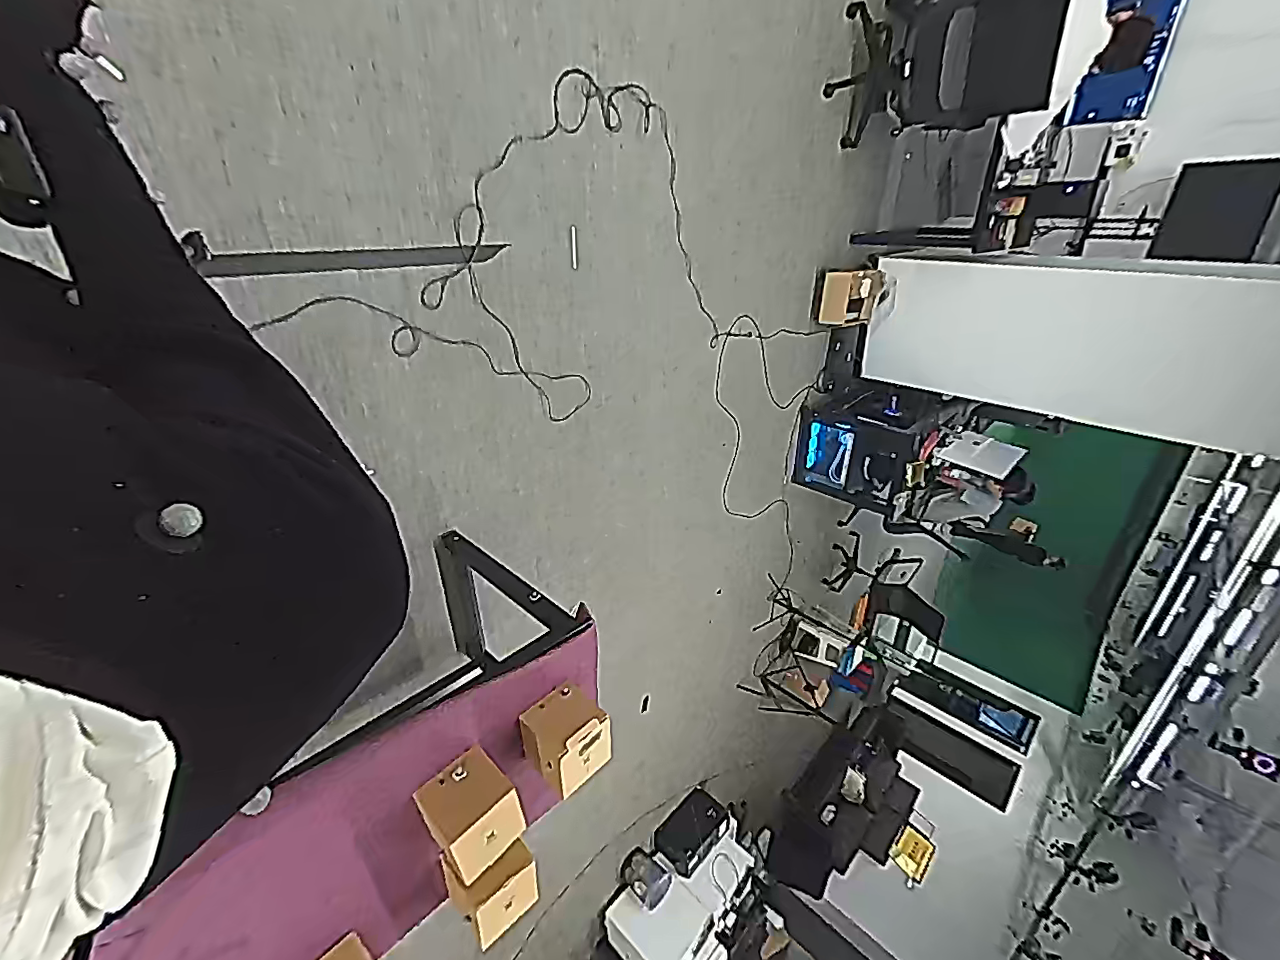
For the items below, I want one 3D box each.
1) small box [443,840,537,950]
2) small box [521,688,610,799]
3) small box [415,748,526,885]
[{"bbox_3d":[-0.380,1.017,1.378,0.168,0.176,0.179,-22,124,-41],"label":"small box"},{"bbox_3d":[-0.197,0.678,1.421,0.168,0.176,0.179,-27,129,-38],"label":"small box"},{"bbox_3d":[-0.389,0.766,1.247,0.168,0.176,0.179,-30,130,-38],"label":"small box"}]
